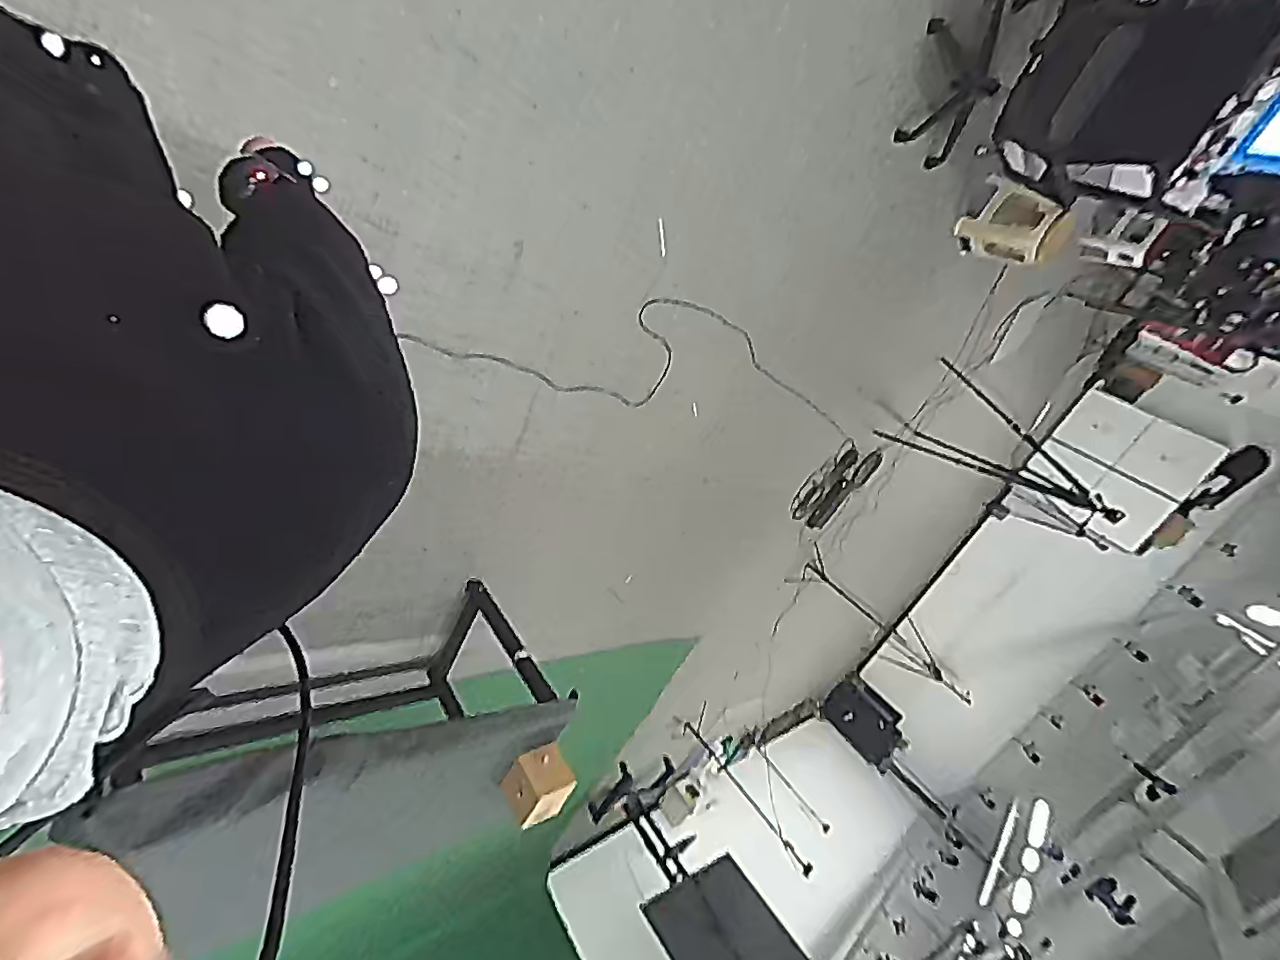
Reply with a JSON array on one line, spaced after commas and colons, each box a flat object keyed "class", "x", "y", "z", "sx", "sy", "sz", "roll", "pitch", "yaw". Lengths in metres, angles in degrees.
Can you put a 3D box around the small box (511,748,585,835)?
[{"class": "small box", "x": -0.329, "y": 1.083, "z": 1.892, "sx": 0.168, "sy": 0.176, "sz": 0.179, "roll": 6, "pitch": 119, "yaw": -48}]
